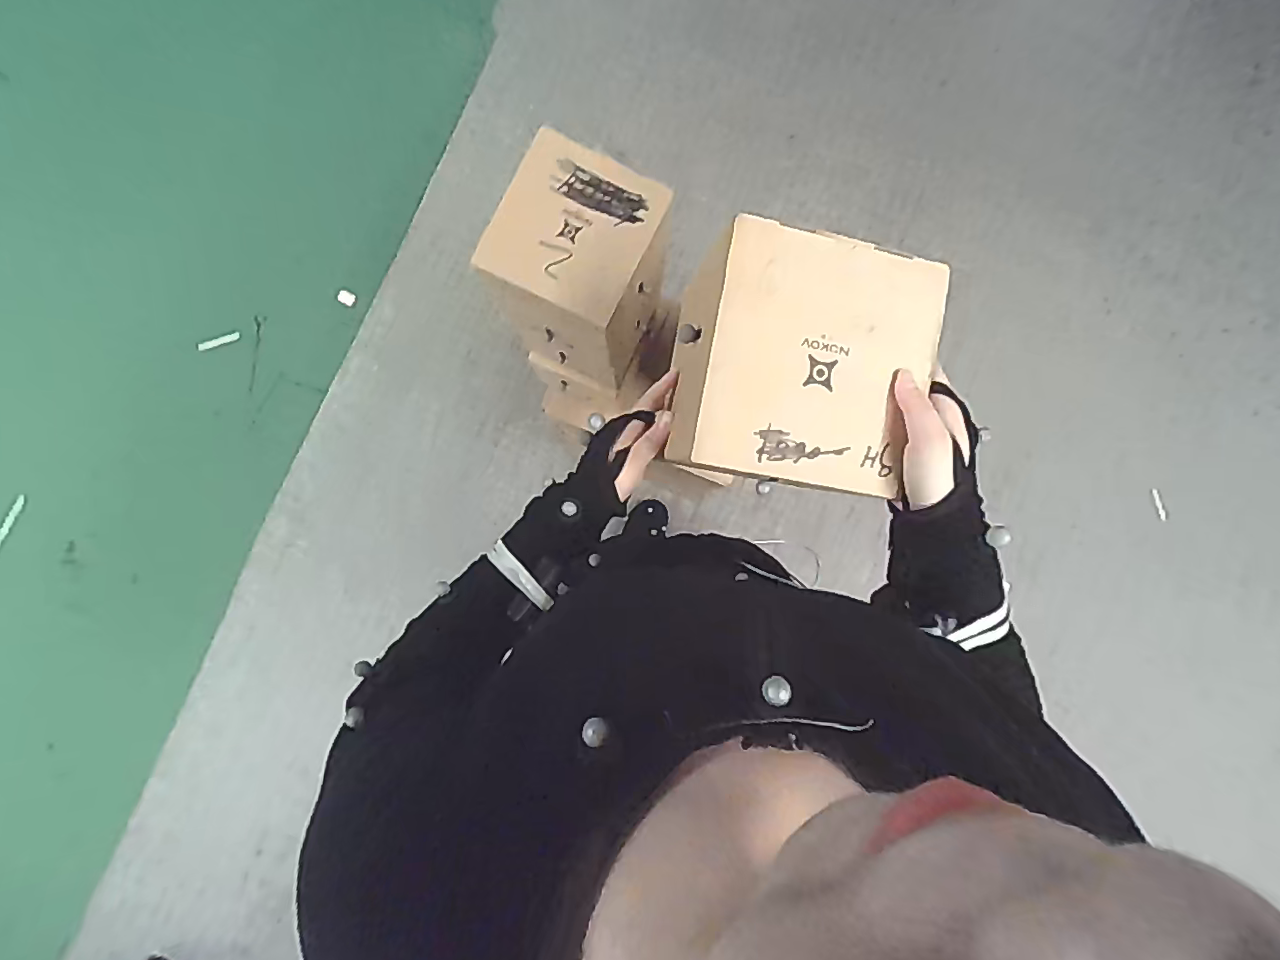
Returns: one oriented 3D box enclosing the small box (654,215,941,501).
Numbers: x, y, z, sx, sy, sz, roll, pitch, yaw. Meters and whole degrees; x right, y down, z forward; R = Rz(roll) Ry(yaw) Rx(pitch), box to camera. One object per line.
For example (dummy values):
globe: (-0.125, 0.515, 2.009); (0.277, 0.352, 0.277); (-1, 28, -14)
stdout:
small box: (0.114, -0.087, 0.462); (0.168, 0.176, 0.179); (10, 92, -8)

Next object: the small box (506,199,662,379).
small box: (-0.079, -0.277, 0.828); (0.168, 0.176, 0.179); (27, 87, -1)

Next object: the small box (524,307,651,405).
small box: (-0.088, -0.256, 0.991); (0.168, 0.176, 0.179); (25, 87, -1)
